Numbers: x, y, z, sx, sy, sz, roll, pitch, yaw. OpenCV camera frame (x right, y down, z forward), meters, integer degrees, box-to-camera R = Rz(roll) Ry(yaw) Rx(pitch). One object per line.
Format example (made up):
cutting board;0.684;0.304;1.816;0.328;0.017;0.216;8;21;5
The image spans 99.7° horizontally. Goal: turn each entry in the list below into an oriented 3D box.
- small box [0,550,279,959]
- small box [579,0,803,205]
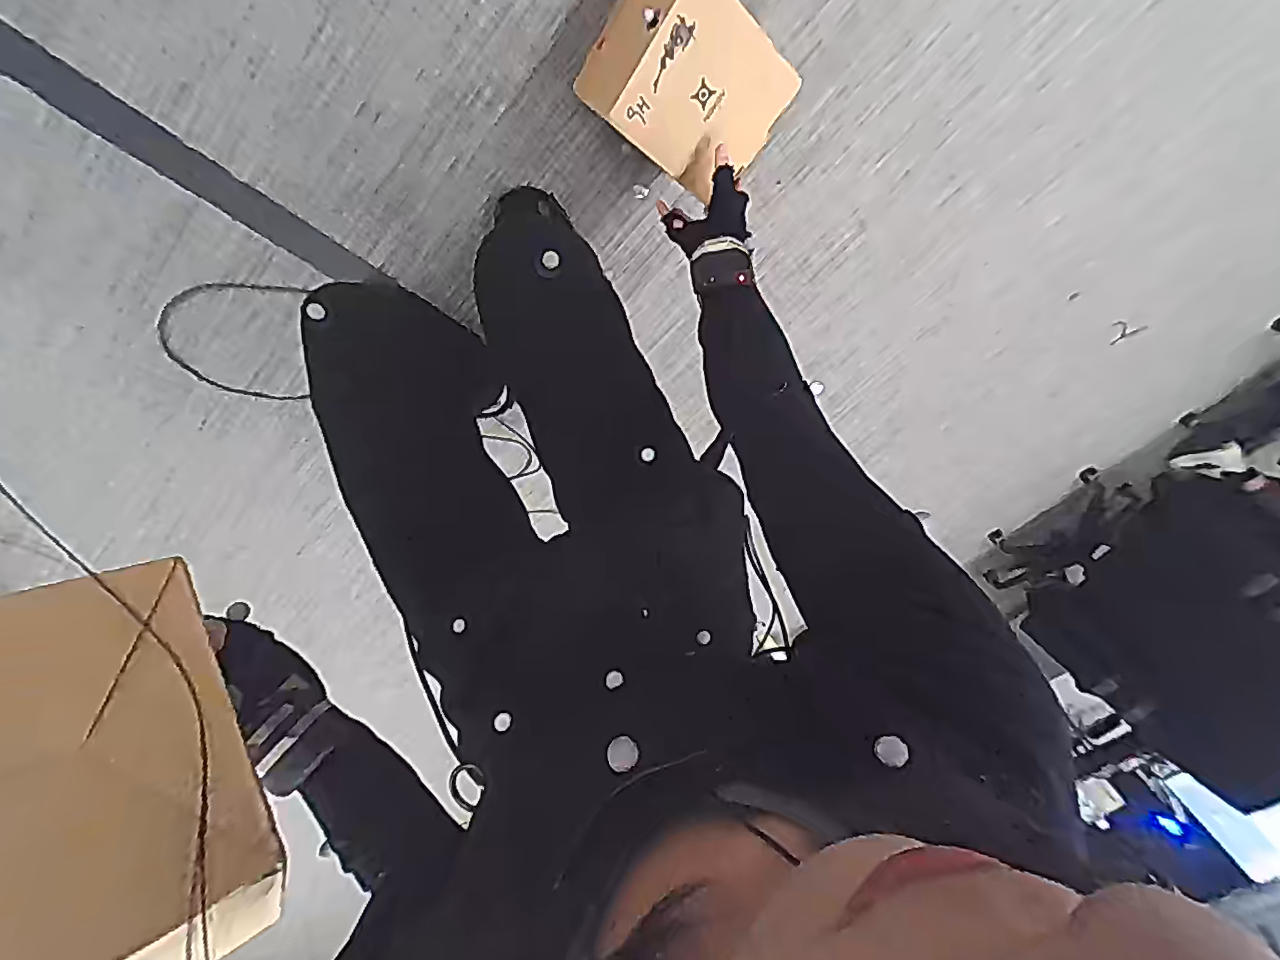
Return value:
small box;-0.295;0.162;0.262;0.168;0.179;0.176;-17;149;-41
small box;0.053;-0.479;0.650;0.179;0.176;0.168;19;123;-38
